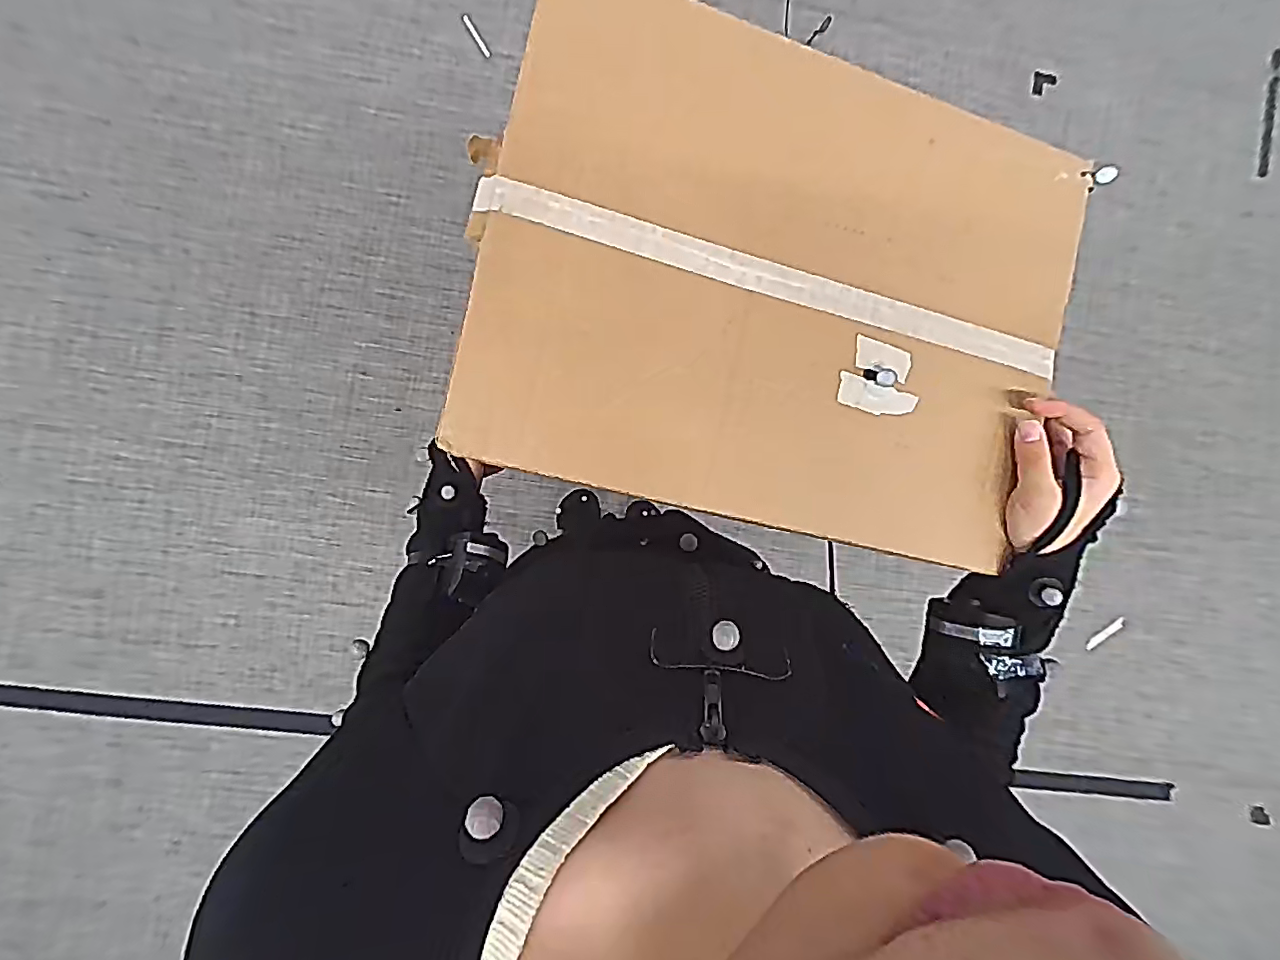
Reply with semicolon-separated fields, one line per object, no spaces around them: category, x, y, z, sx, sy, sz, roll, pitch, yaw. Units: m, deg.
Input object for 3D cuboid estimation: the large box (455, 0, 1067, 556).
large box;0.074;-0.134;0.512;0.408;0.320;0.320;13;90;-12
